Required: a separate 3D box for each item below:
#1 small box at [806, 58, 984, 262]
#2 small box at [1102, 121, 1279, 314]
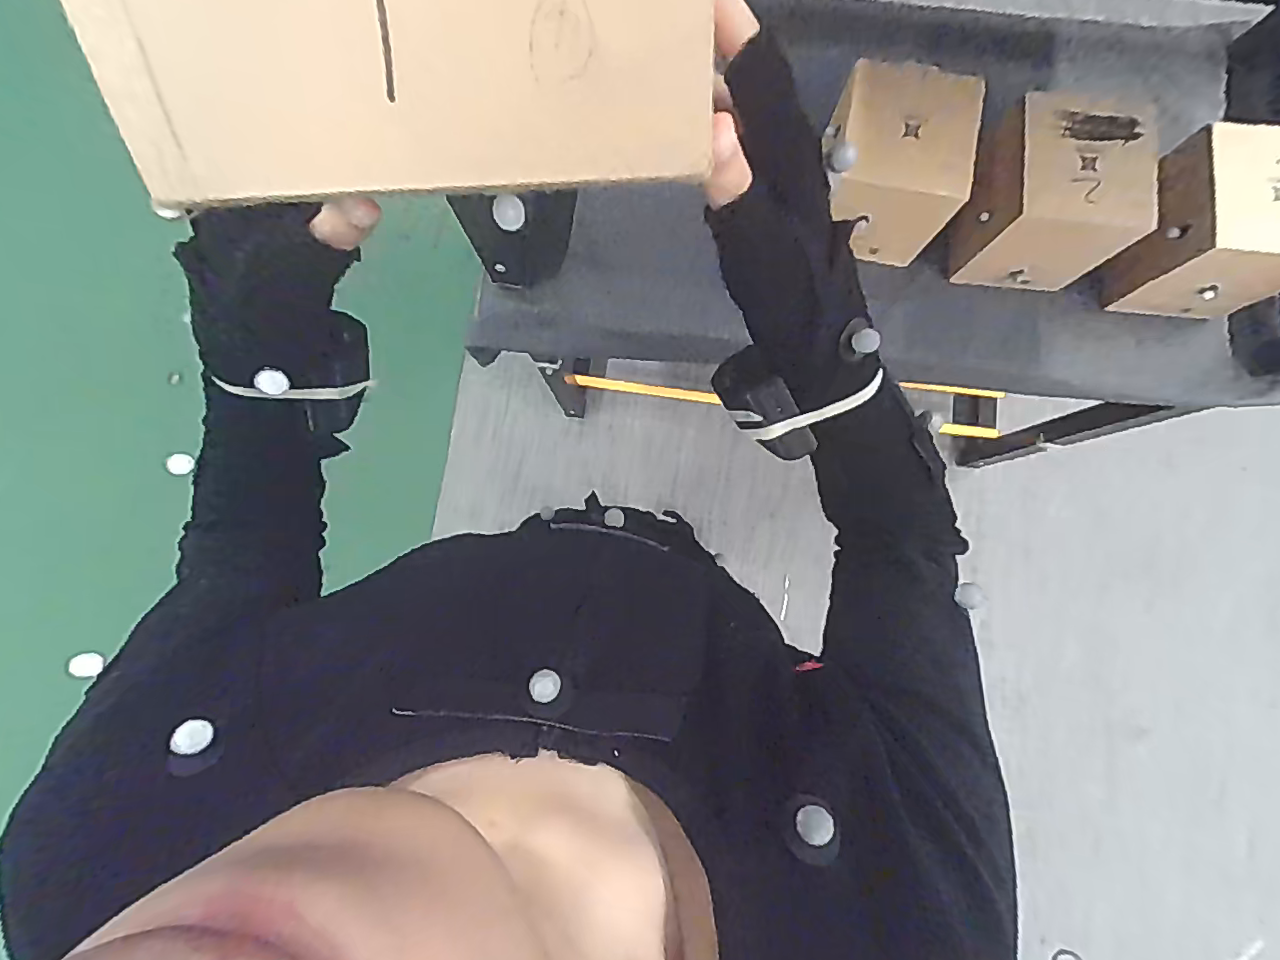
[{"bbox_3d":[0.347,-0.437,0.766,0.168,0.176,0.179,11,82,2],"label":"small box"},{"bbox_3d":[0.786,-0.348,0.746,0.168,0.176,0.179,6,82,1],"label":"small box"}]
